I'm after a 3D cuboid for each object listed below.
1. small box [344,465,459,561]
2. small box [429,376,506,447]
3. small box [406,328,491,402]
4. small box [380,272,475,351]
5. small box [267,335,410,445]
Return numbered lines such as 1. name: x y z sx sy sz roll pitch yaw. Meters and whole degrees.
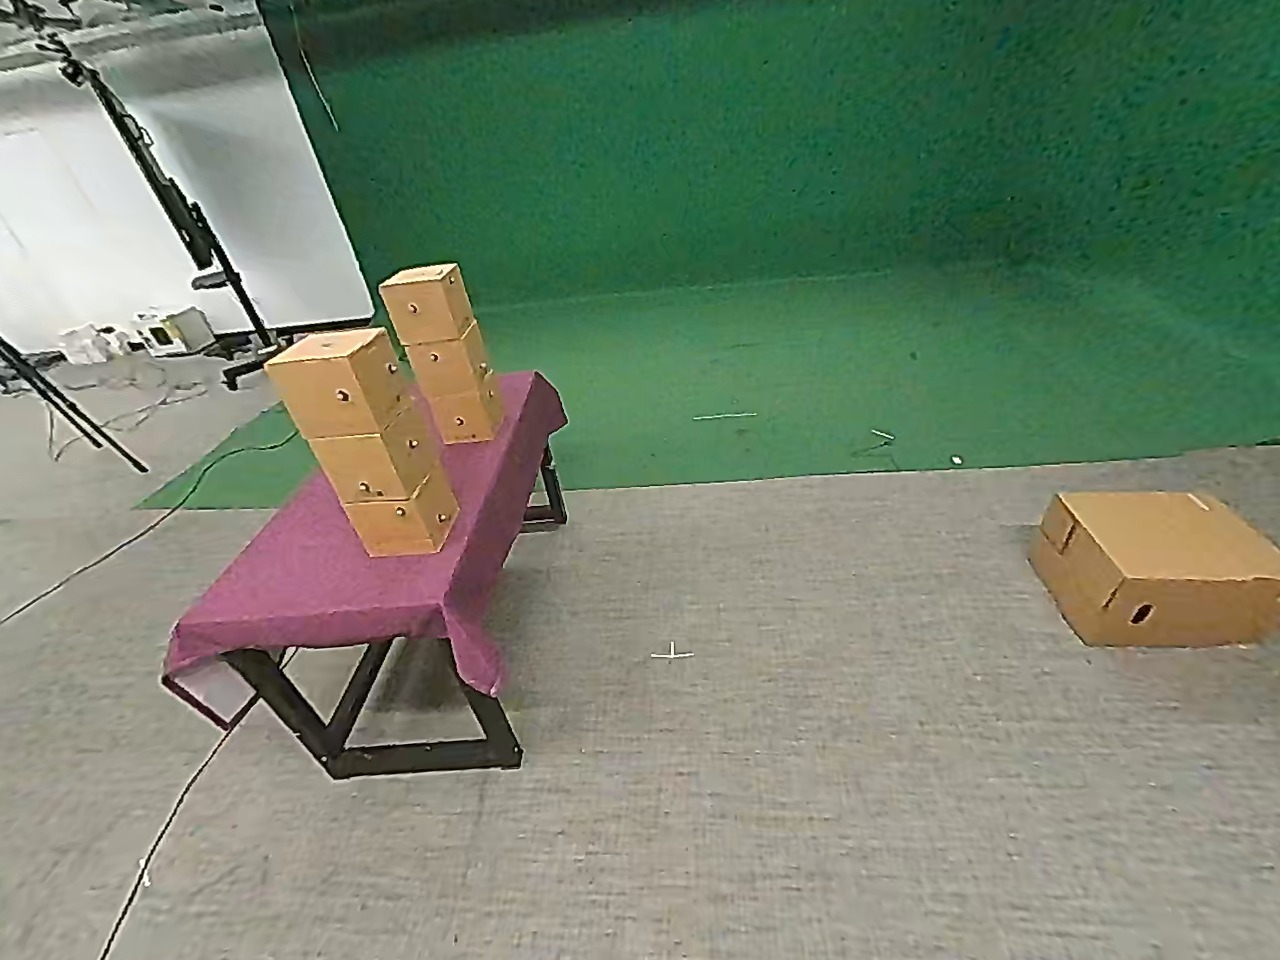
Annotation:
1. small box: -0.569 0.083 1.315 0.179 0.176 0.168 -4 34 6
2. small box: -0.547 -0.215 1.743 0.168 0.176 0.179 -4 34 6
3. small box: -0.576 -0.348 1.651 0.179 0.176 0.168 -6 35 4
4. small box: -0.605 -0.484 1.563 0.179 0.176 0.168 -7 35 5
5. small box: -0.615 -0.188 1.136 0.179 0.176 0.168 -5 33 7
